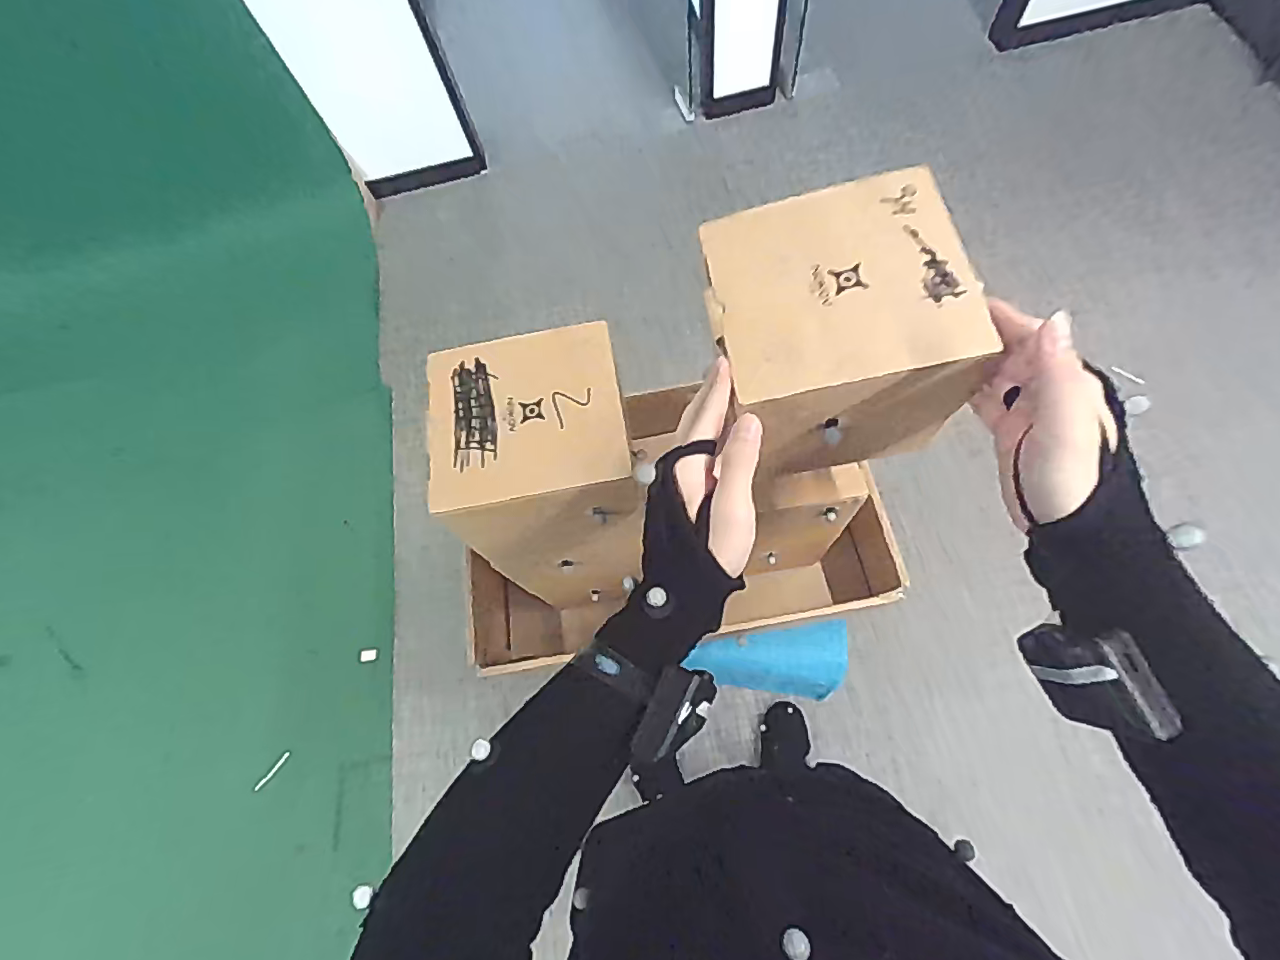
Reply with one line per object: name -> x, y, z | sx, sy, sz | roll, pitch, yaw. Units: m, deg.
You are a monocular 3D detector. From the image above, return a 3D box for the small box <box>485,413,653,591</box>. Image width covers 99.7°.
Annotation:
small box -> -0.085, 0.038, 0.701 | 0.179, 0.176, 0.168 | -11, 67, 1

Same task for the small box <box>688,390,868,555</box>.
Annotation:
small box -> 0.164, -0.011, 0.694 | 0.179, 0.176, 0.168 | -10, 67, 3

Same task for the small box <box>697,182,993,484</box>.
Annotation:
small box -> 0.156, -0.108, 0.465 | 0.179, 0.176, 0.168 | -11, 68, 9
